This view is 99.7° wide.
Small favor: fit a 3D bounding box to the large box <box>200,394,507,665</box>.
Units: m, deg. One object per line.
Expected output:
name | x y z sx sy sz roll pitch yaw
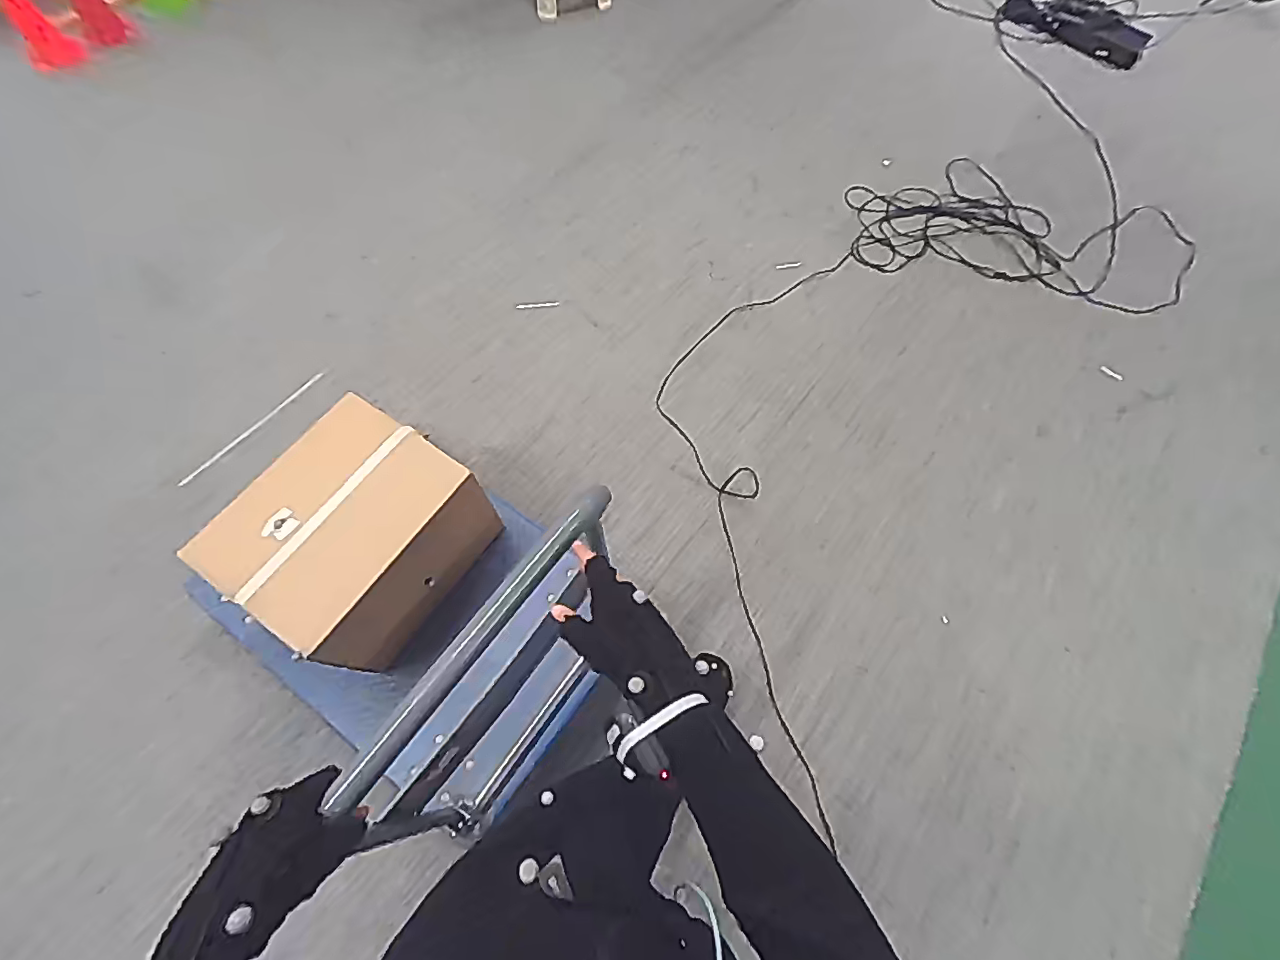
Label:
large box | -0.535 0.113 1.110 0.320 0.320 0.408 31 69 12
